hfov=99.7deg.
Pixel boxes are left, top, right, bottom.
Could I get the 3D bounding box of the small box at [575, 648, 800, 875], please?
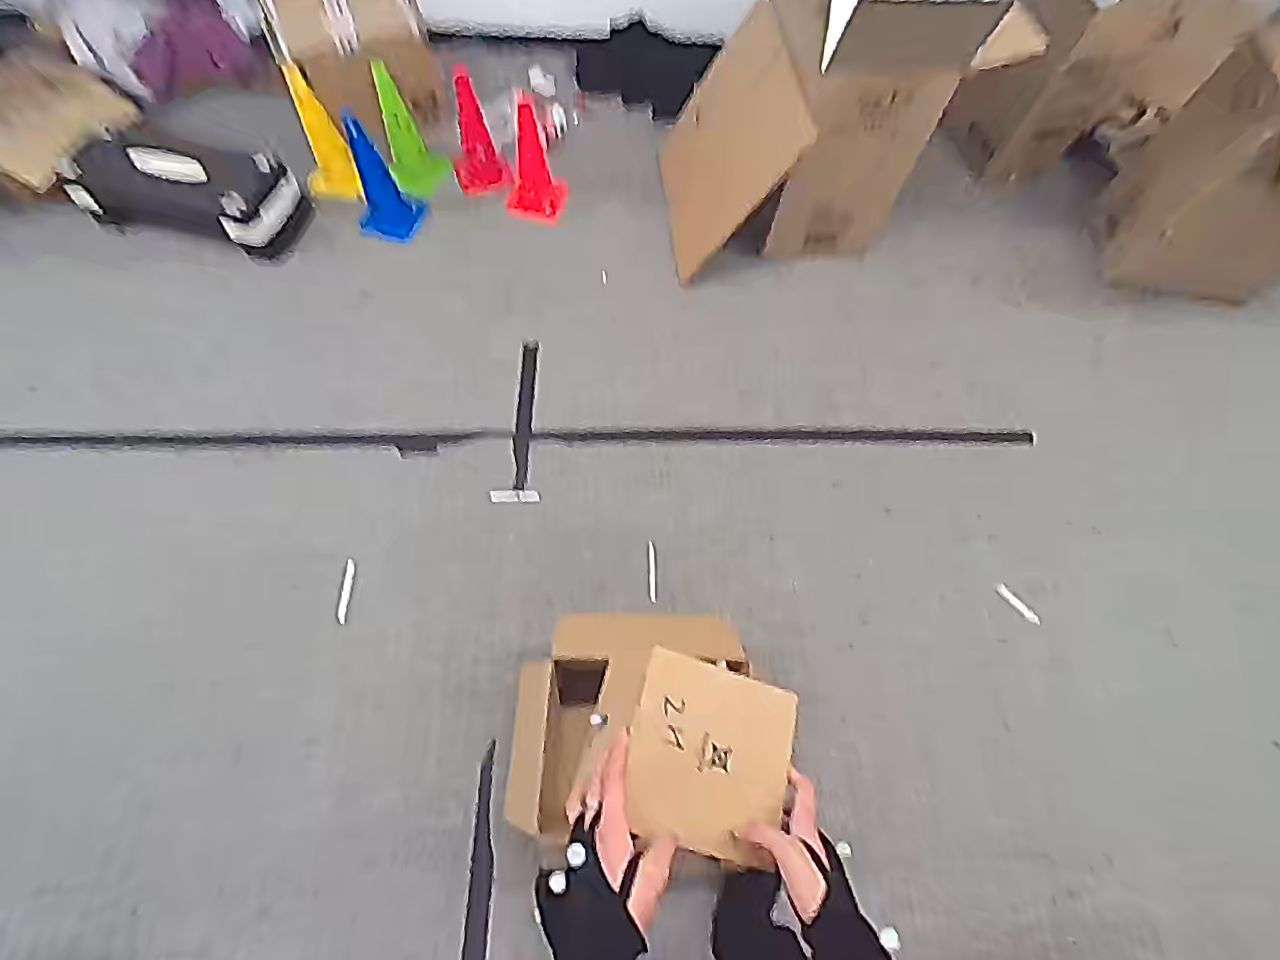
[{"bbox_3d":[0.046,0.297,0.596,0.179,0.176,0.168,22,63,-9],"label":"small box"}]
